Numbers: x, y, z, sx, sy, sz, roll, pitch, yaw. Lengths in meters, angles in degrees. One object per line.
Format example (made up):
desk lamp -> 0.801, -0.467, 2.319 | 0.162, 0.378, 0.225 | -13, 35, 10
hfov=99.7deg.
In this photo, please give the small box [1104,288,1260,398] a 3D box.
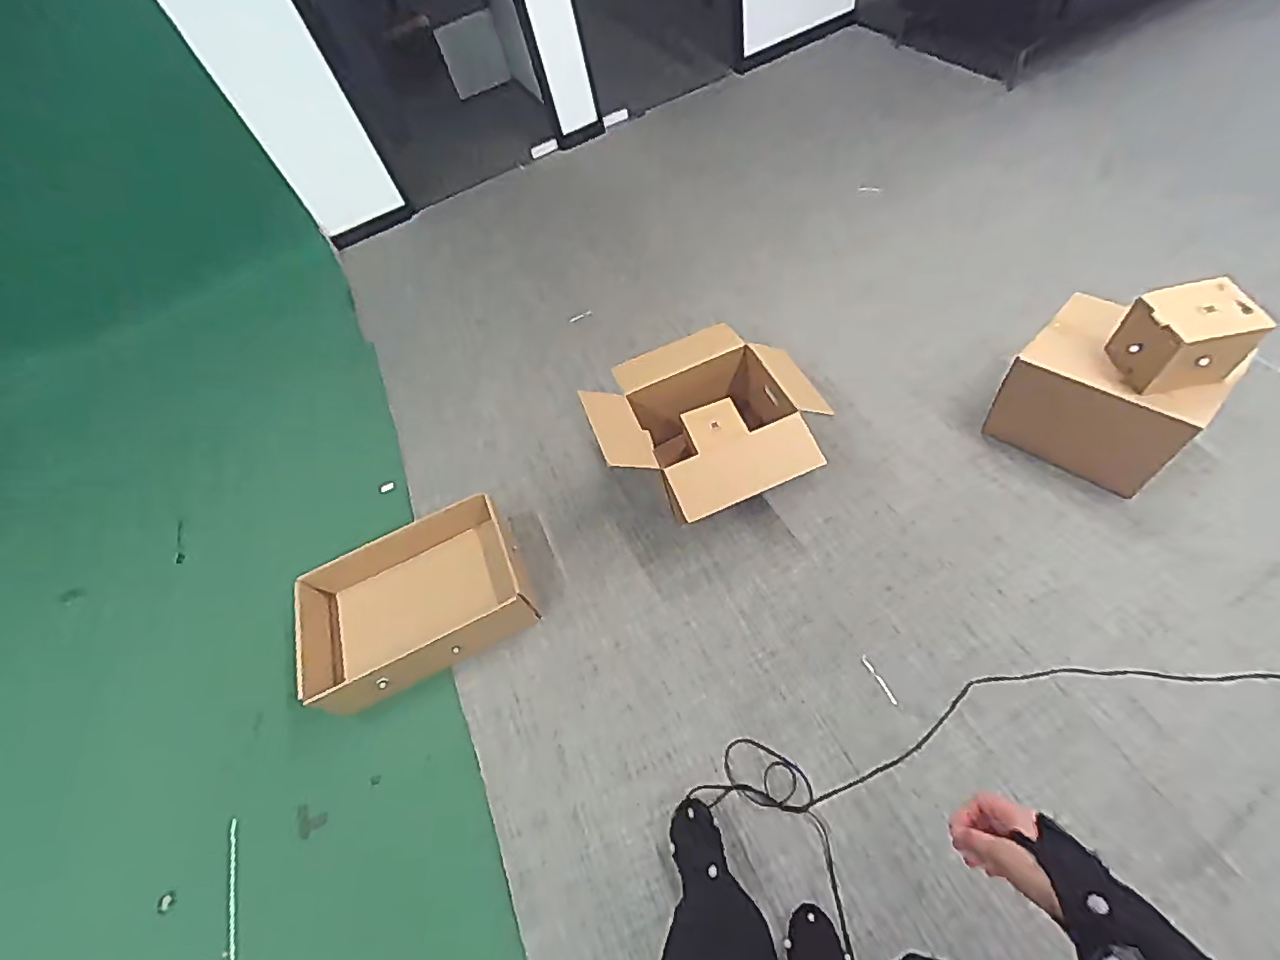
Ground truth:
small box -> 1.231, -0.310, 1.254 | 0.179, 0.176, 0.168 | -10, 55, 8
